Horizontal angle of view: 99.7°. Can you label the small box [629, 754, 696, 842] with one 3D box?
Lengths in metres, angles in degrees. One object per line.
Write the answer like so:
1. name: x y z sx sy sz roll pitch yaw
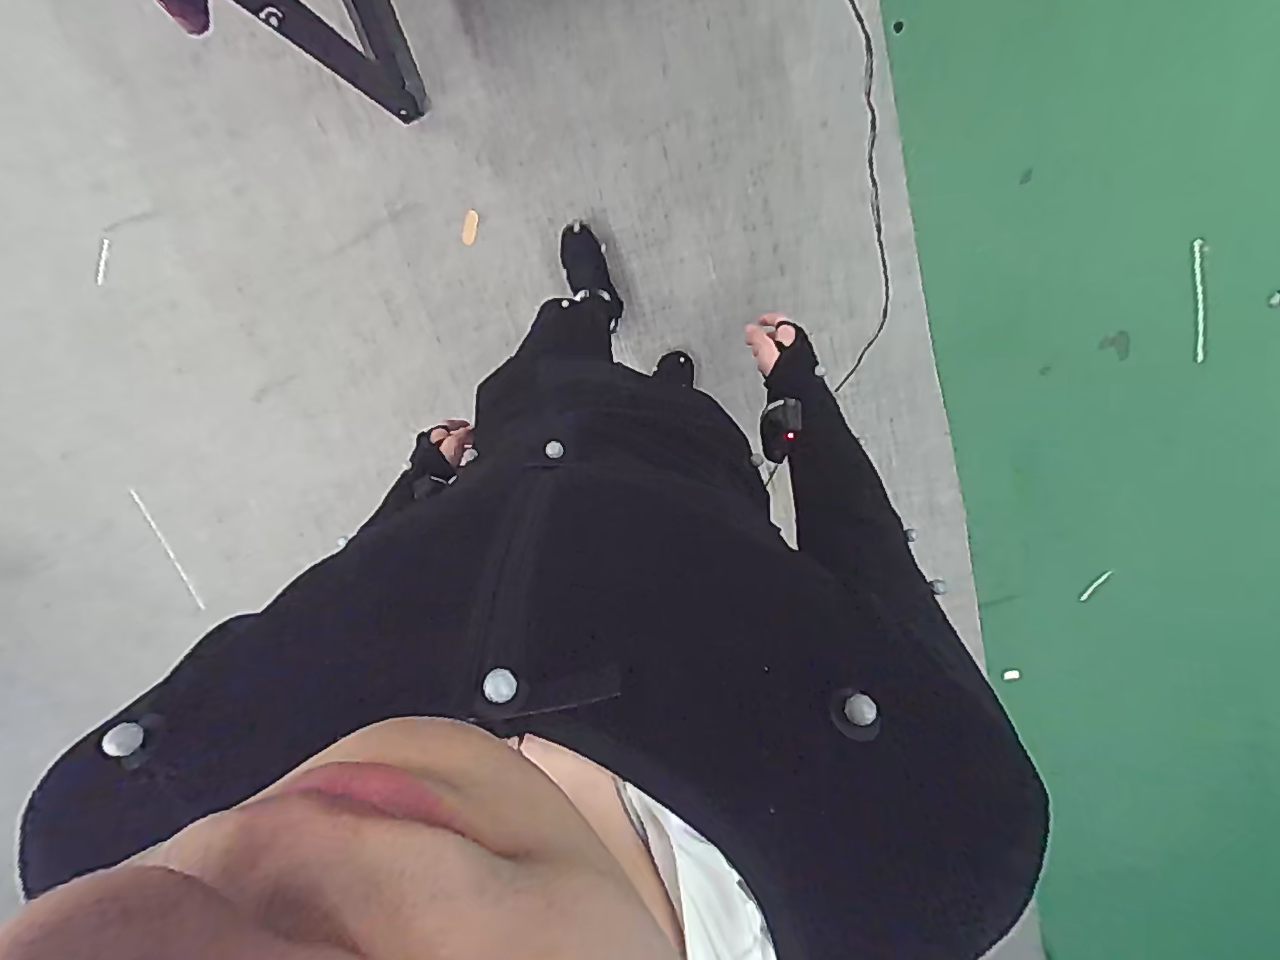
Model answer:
1. small box: 0.070 0.976 1.672 0.179 0.176 0.168 -10 105 7
